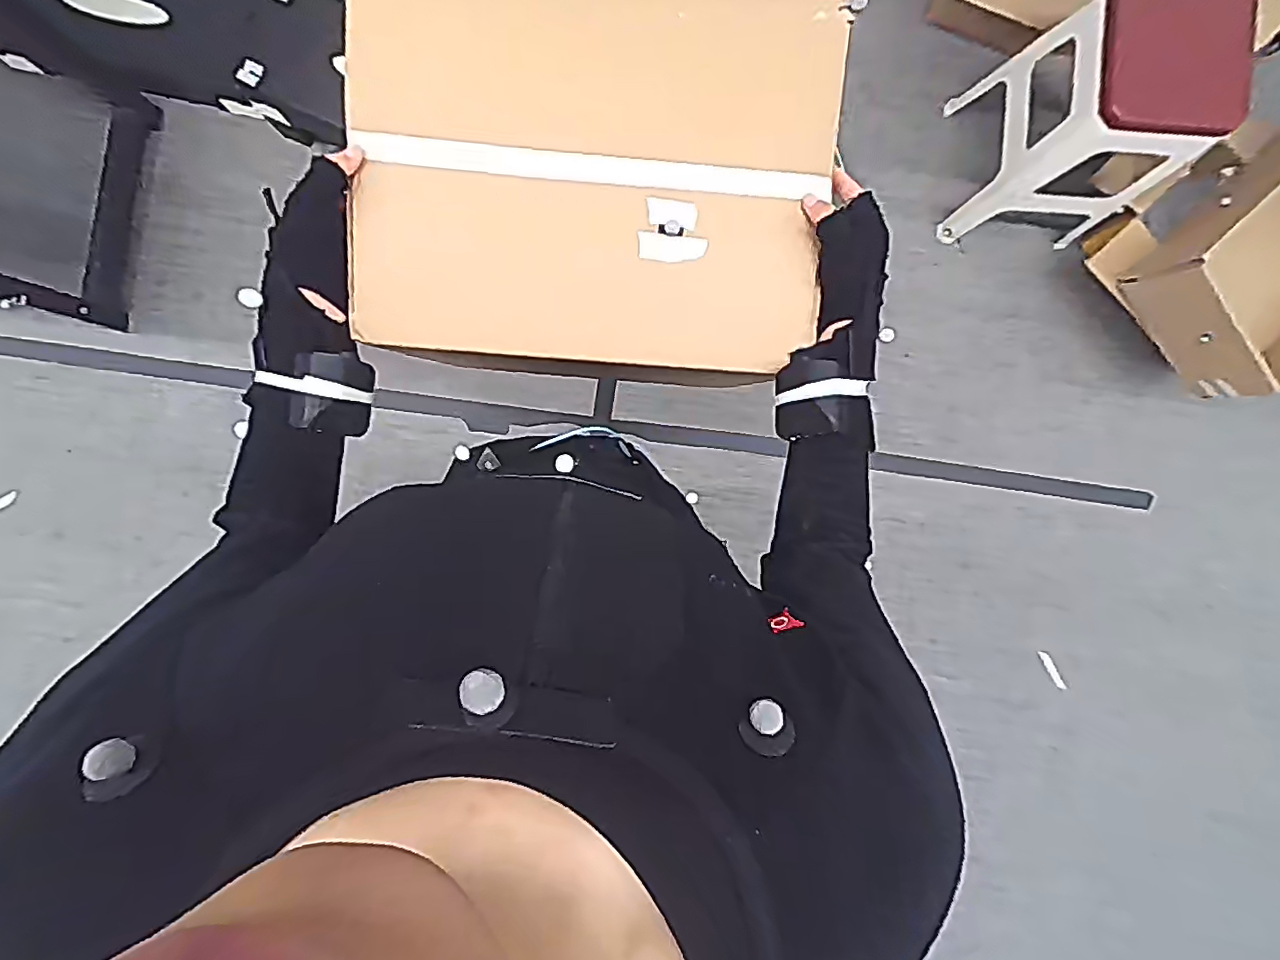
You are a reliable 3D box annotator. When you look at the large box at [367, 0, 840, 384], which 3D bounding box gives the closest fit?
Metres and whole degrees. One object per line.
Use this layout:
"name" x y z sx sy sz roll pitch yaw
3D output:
"large box" -0.045 -0.283 0.617 0.408 0.320 0.320 4 98 -5
